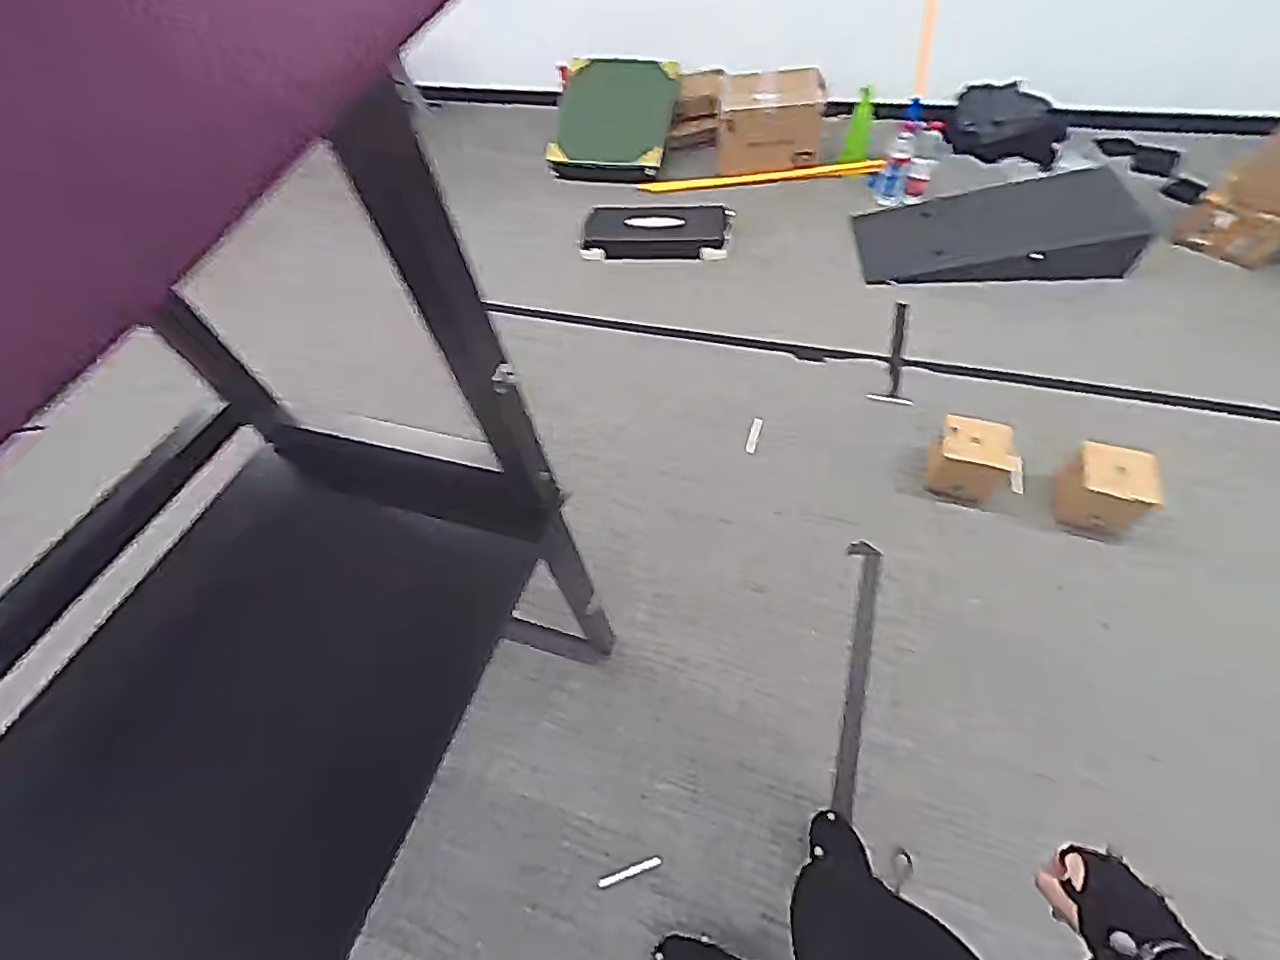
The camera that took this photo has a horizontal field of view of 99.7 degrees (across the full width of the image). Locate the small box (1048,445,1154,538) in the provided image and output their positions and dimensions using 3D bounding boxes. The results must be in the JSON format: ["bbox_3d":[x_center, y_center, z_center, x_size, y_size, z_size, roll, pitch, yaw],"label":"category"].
[{"bbox_3d":[1.283,0.033,1.521,0.168,0.176,0.179,14,58,15],"label":"small box"}]

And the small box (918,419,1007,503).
[{"bbox_3d":[0.958,-0.052,1.610,0.179,0.176,0.168,15,58,14],"label":"small box"}]
